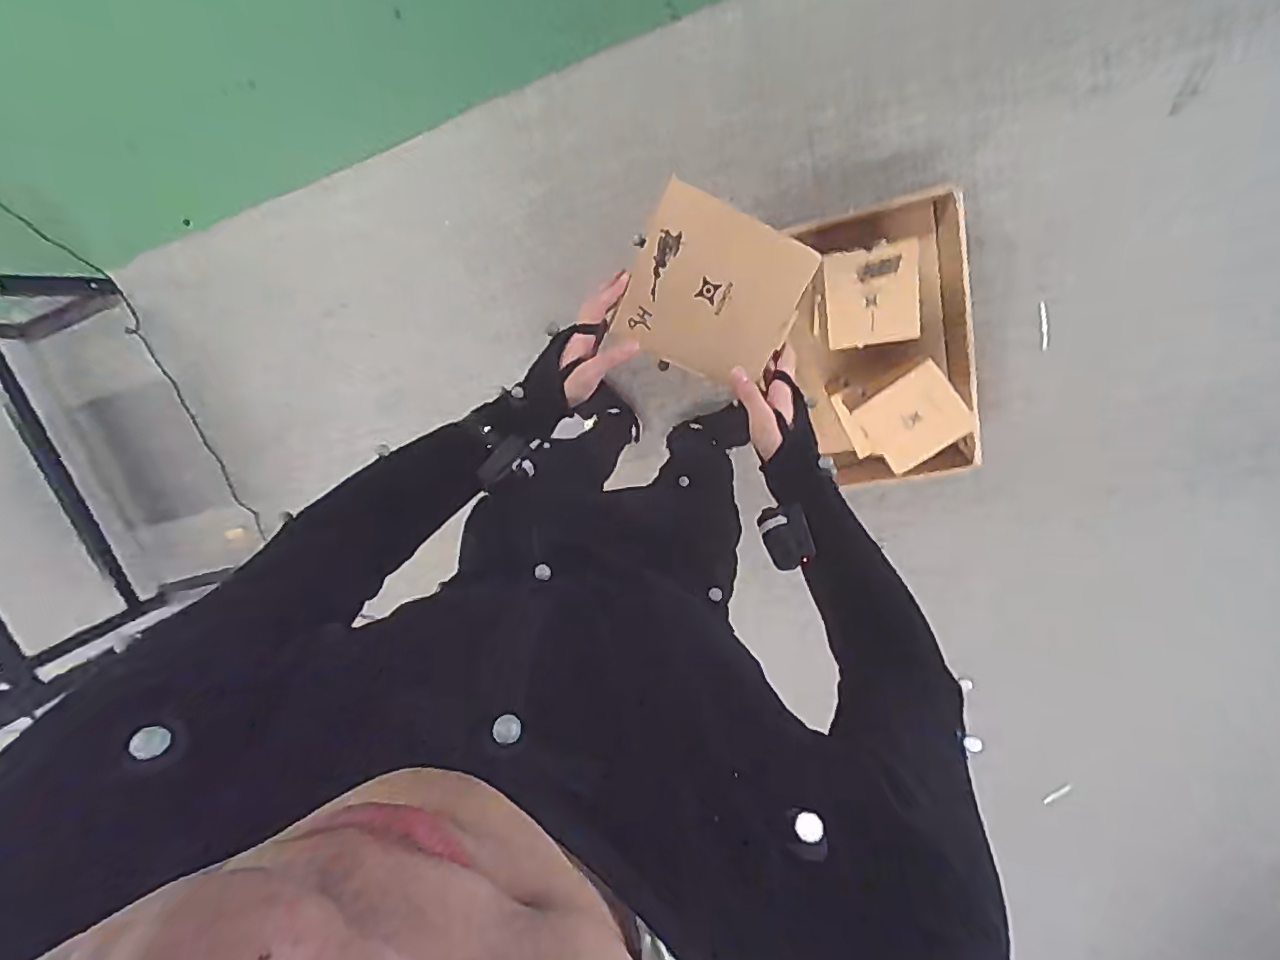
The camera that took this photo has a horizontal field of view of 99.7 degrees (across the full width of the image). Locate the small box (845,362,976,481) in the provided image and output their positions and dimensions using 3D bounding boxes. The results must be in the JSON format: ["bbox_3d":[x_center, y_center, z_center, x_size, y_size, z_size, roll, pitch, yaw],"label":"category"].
[{"bbox_3d":[0.552,-0.128,1.136,0.179,0.176,0.168,-37,96,20],"label":"small box"}]

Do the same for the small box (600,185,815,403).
[{"bbox_3d":[0.063,-0.210,0.631,0.179,0.176,0.168,21,104,-12],"label":"small box"}]

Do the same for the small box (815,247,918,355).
[{"bbox_3d":[0.449,-0.356,1.087,0.168,0.176,0.179,-6,108,14],"label":"small box"}]

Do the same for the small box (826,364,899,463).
[{"bbox_3d":[0.561,-0.163,1.298,0.179,0.176,0.168,-26,99,19],"label":"small box"}]
